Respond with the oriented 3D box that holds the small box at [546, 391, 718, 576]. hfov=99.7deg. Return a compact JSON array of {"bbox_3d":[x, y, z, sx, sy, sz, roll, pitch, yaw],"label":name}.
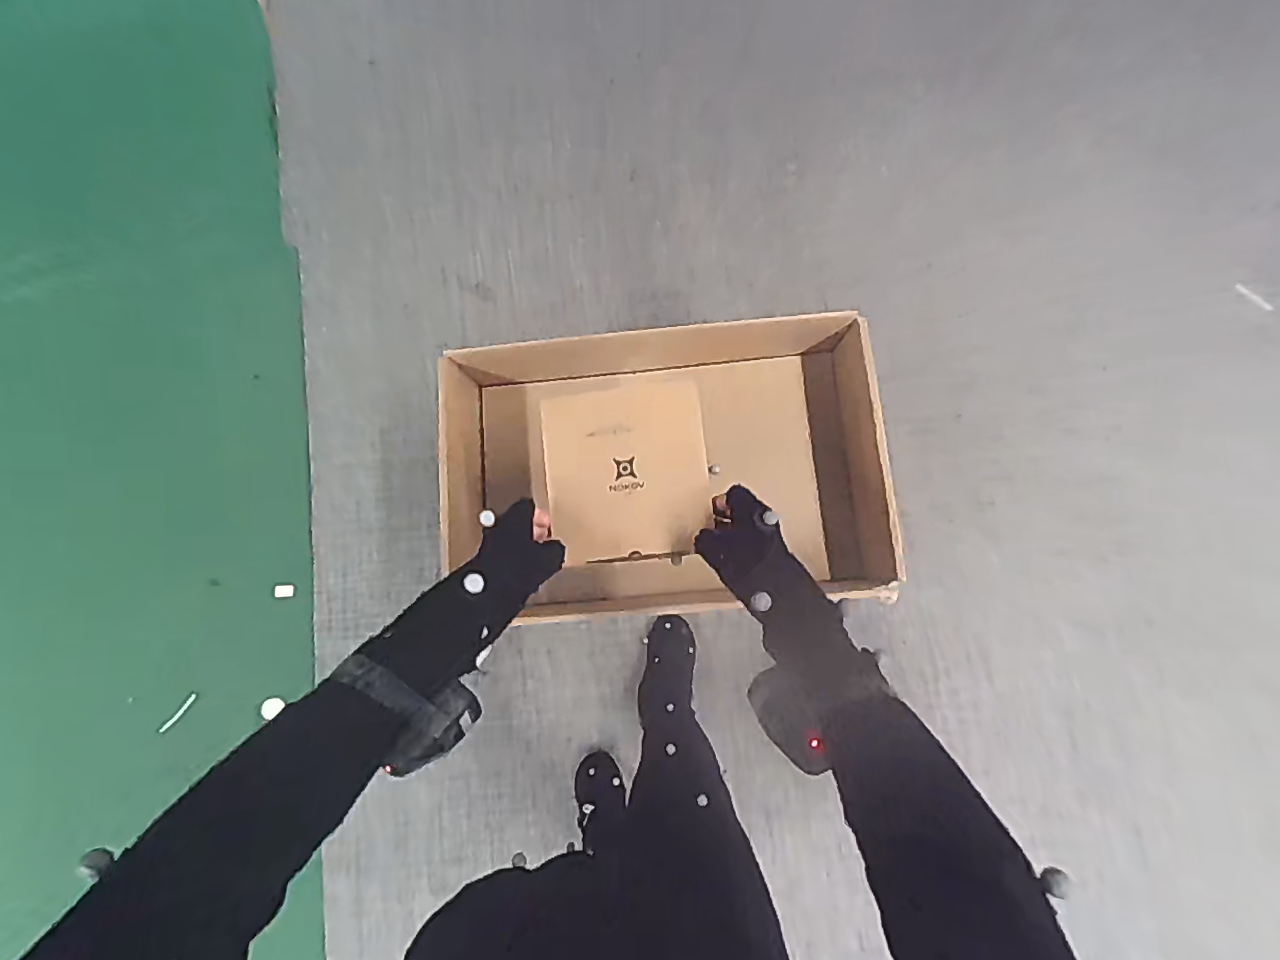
[{"bbox_3d":[-0.001,0.011,0.633,0.168,0.176,0.179,-8,83,5],"label":"small box"}]
